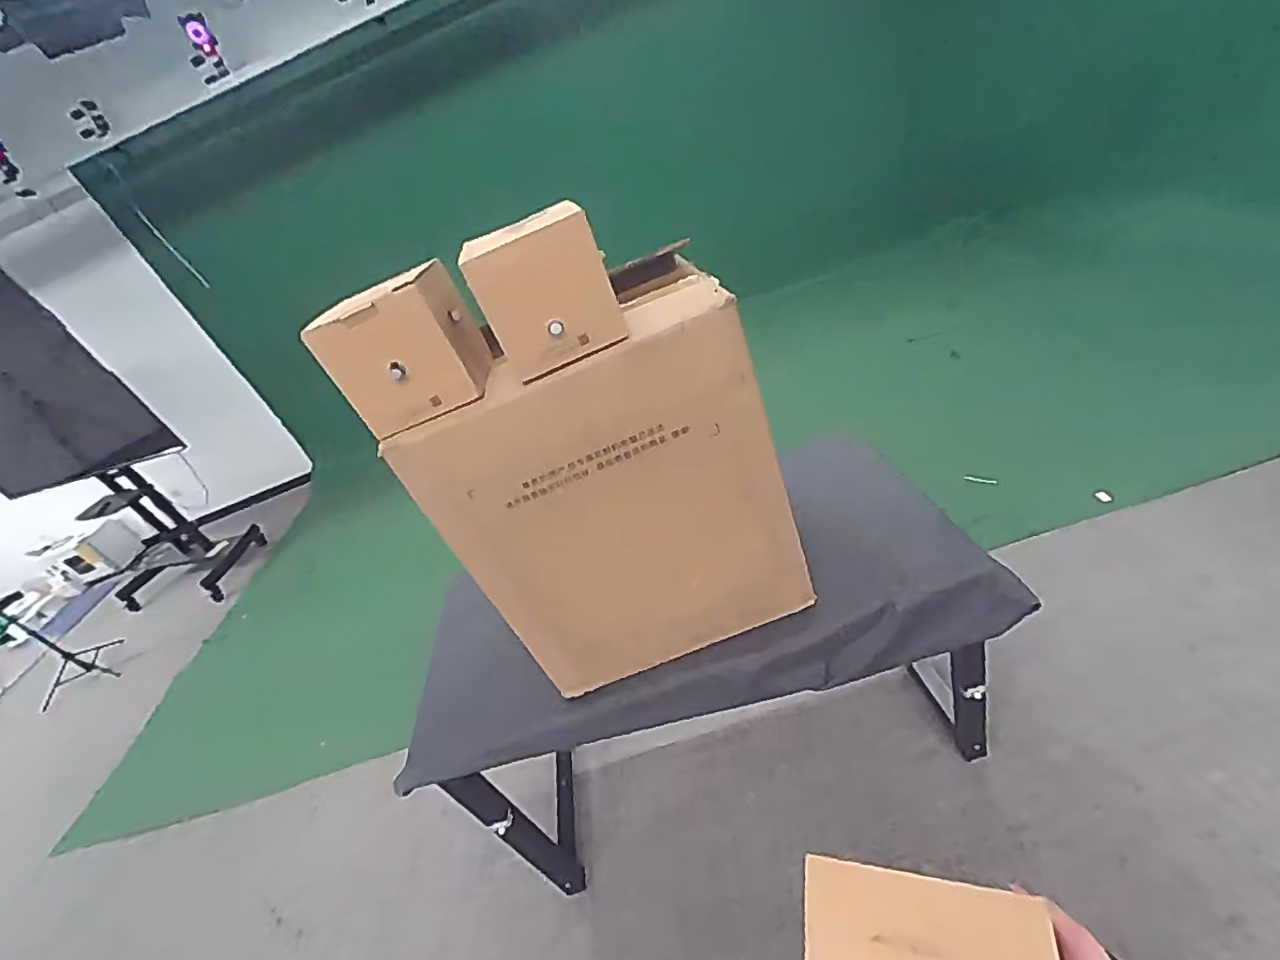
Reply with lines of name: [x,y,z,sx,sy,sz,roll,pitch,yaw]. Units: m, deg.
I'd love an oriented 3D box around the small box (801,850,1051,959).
small box: [0.220,0.416,0.424,0.168,0.176,0.179,-4,51,21]

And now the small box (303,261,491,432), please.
small box: [-0.333,-0.189,0.786,0.168,0.176,0.179,-22,33,5]
